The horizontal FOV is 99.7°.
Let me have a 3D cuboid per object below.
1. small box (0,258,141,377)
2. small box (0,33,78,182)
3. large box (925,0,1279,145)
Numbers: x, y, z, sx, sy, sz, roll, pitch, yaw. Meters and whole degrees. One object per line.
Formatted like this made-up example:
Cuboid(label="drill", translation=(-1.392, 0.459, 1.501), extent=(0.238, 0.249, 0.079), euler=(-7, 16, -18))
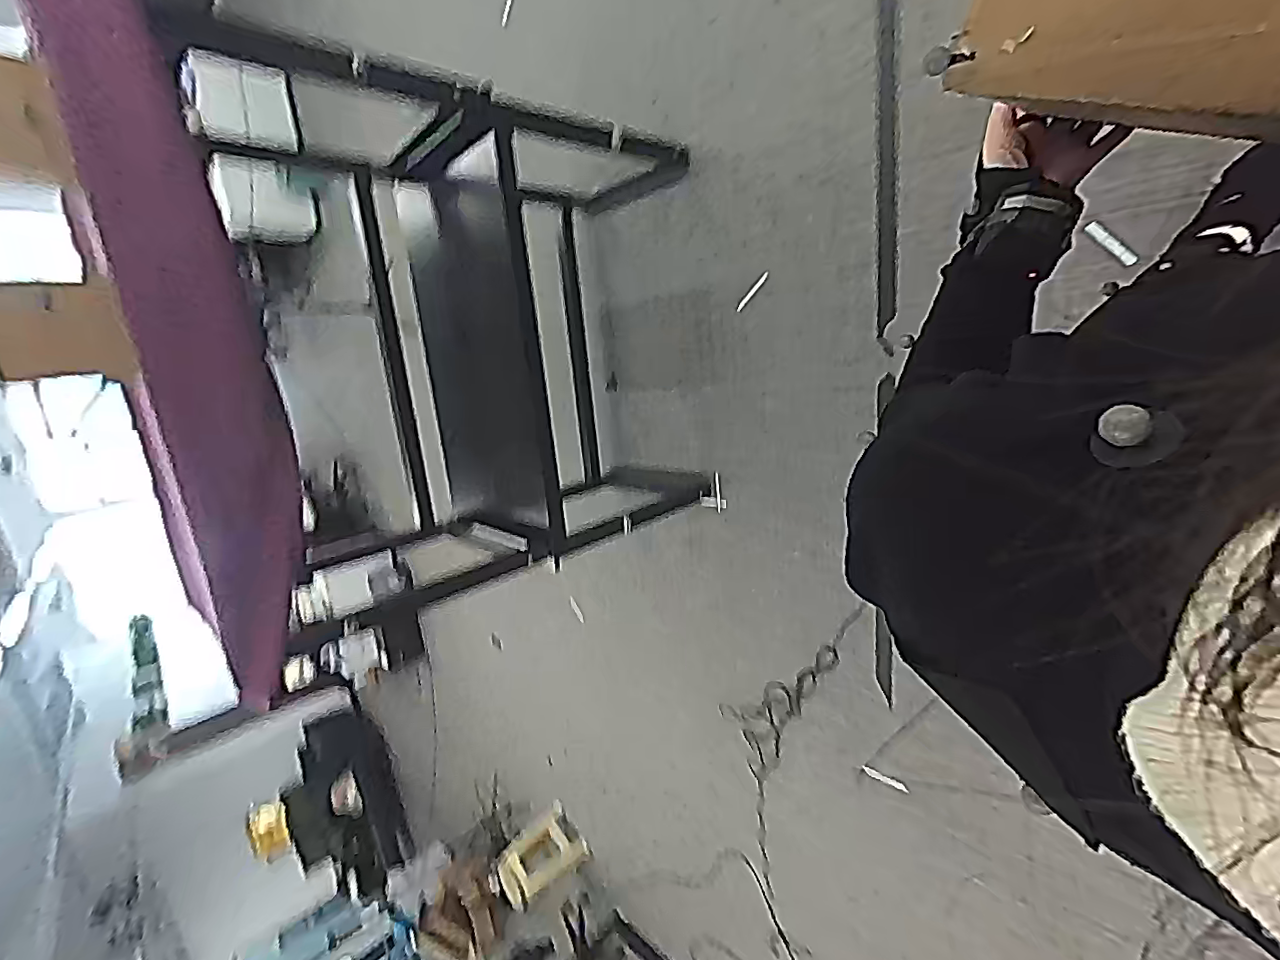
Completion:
Cuboid(label="small box", translation=(-0.981, -0.271, 0.912), extent=(0.168, 0.176, 0.179), euler=(12, 112, 46))
Cuboid(label="small box", translation=(-1.018, -0.584, 0.841), extent=(0.168, 0.176, 0.179), euler=(16, 115, 45))
Cuboid(label="large box", translation=(0.411, -0.307, 0.208), extent=(0.408, 0.320, 0.320), euler=(28, 130, 29))
